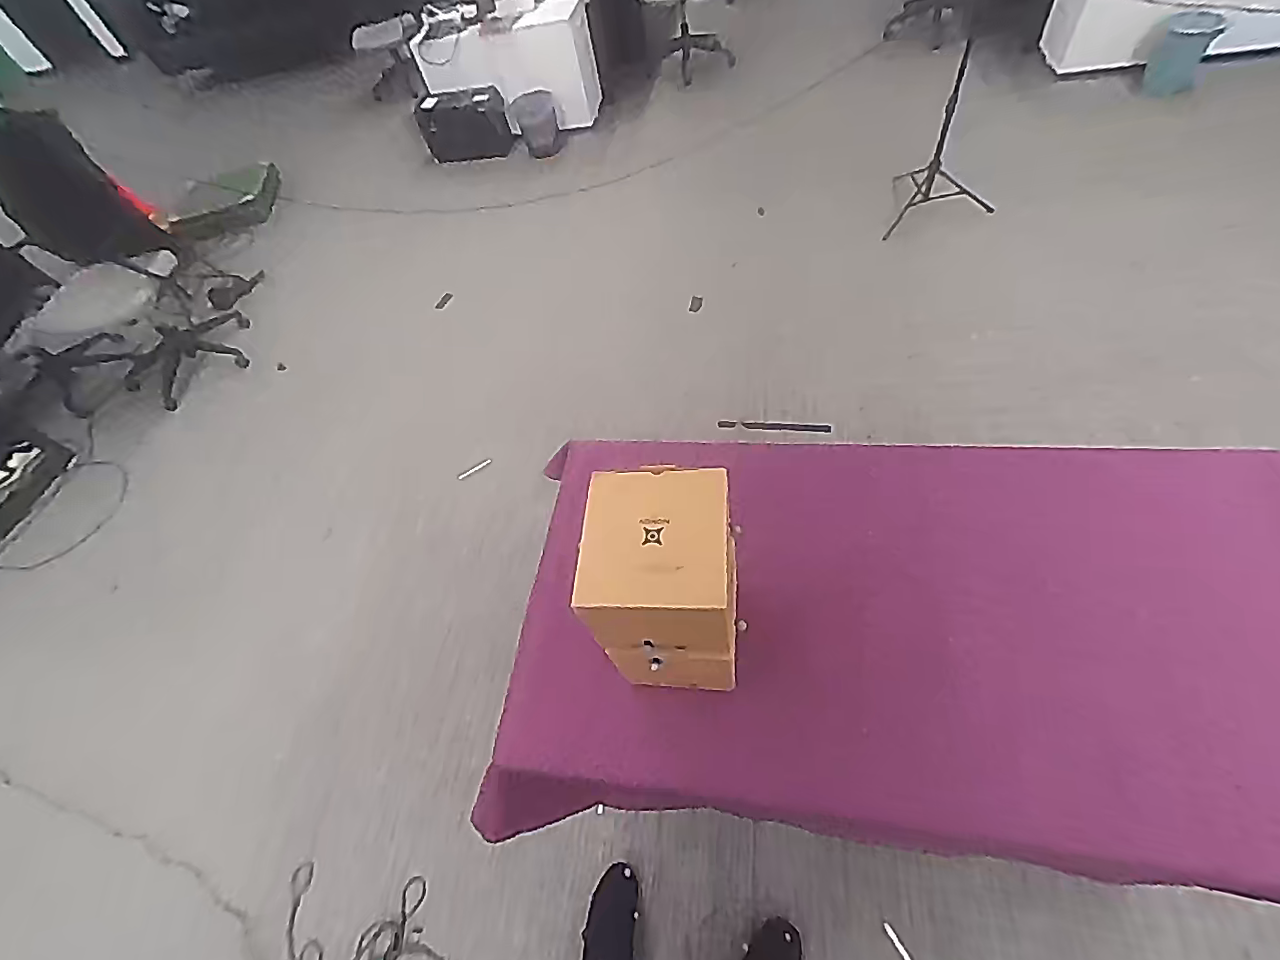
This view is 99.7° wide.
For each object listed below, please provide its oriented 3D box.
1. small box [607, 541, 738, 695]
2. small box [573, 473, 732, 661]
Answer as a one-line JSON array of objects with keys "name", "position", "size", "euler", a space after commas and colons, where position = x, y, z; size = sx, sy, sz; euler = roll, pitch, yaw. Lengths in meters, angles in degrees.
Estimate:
[{"name": "small box", "position": [0.058, 0.202, 0.800], "size": [0.168, 0.176, 0.179], "euler": [1, 56, 12]}, {"name": "small box", "position": [0.028, 0.108, 0.669], "size": [0.168, 0.176, 0.179], "euler": [-1, 56, 11]}]
